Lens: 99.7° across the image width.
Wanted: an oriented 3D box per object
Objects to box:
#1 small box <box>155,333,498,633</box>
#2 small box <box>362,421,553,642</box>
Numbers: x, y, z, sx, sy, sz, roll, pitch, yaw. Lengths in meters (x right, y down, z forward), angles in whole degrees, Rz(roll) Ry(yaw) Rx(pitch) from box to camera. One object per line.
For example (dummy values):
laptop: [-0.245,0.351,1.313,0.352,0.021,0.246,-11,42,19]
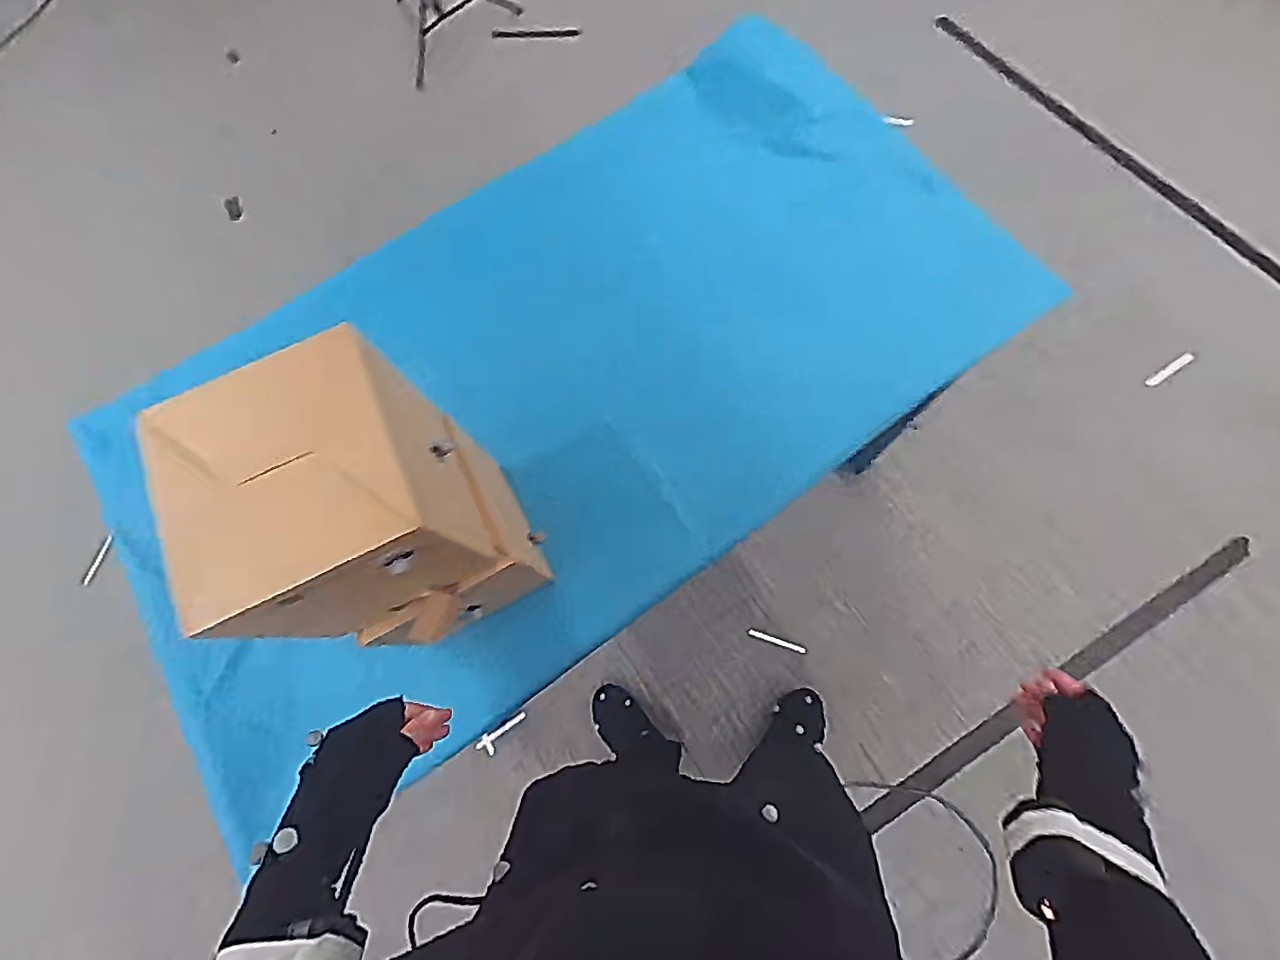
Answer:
small box: [-0.249,0.014,0.455,0.168,0.176,0.179,-26,75,-4]
small box: [-0.224,0.066,0.610,0.168,0.176,0.179,-29,74,-5]
